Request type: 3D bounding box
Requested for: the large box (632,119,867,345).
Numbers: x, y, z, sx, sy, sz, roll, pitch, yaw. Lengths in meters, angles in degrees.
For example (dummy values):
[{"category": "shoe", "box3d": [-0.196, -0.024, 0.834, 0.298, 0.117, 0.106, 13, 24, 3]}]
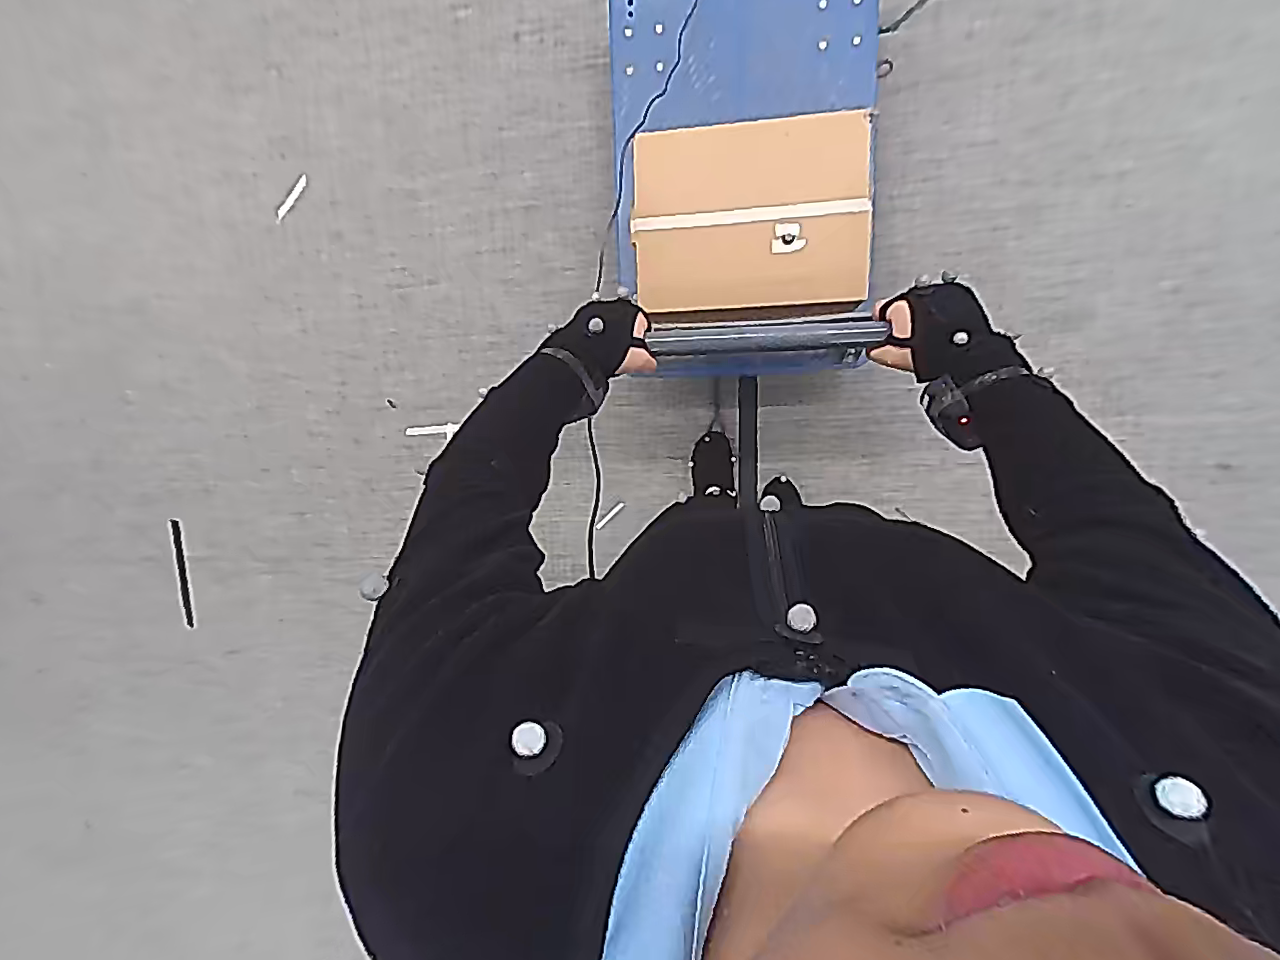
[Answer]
[{"category": "large box", "box3d": [0.208, -0.461, 1.091, 0.408, 0.320, 0.320, -1, 97, 8]}]
